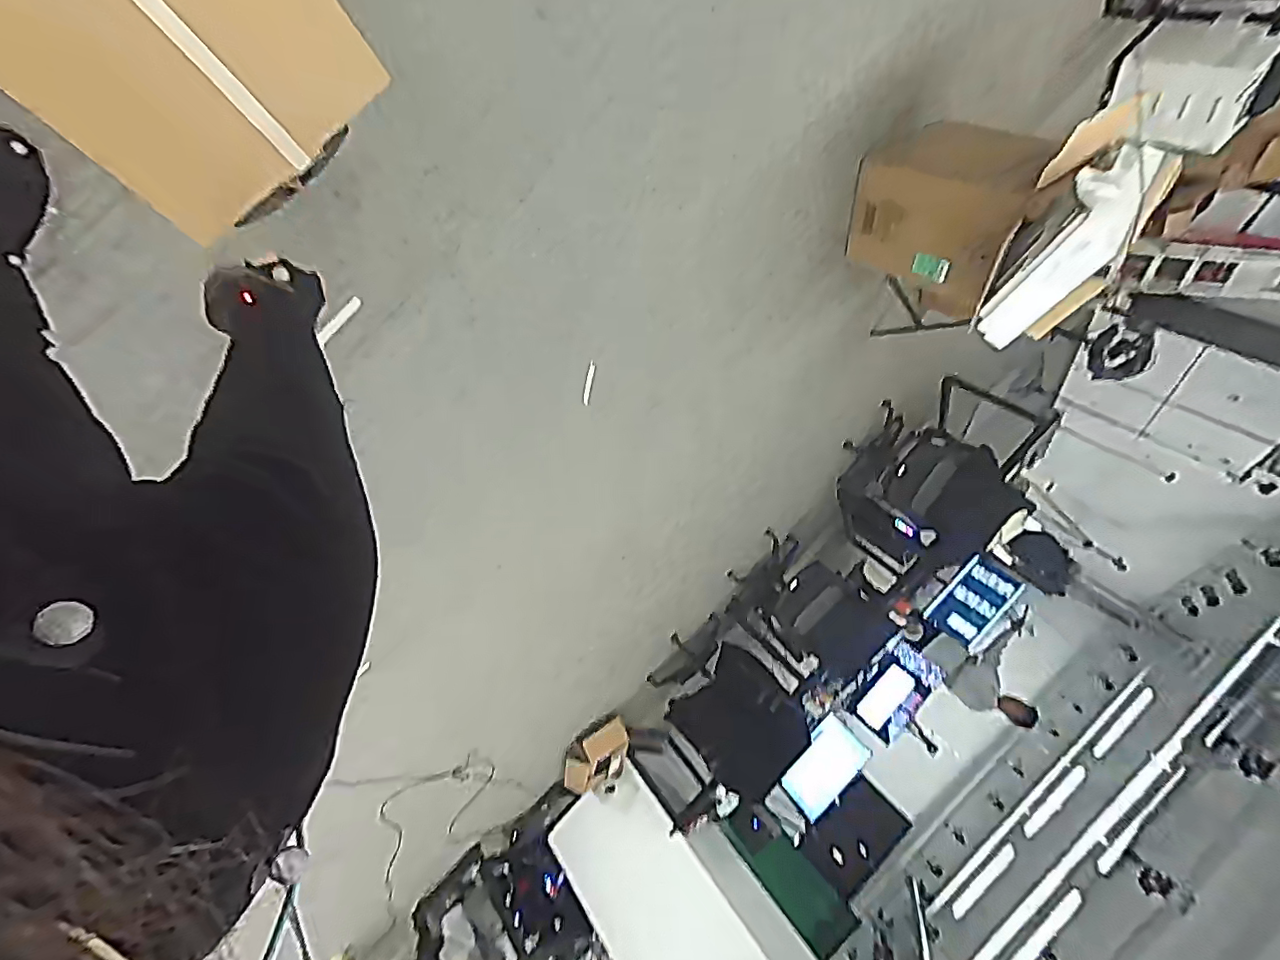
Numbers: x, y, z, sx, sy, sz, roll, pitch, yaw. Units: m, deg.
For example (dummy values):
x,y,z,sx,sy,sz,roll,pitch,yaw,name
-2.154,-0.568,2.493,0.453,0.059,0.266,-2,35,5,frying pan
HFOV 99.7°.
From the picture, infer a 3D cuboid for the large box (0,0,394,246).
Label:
x,y,z,sx,sy,sz,roll,pitch,yaw,name
-0.574,-0.553,0.595,0.320,0.320,0.408,-46,143,-4,large box
